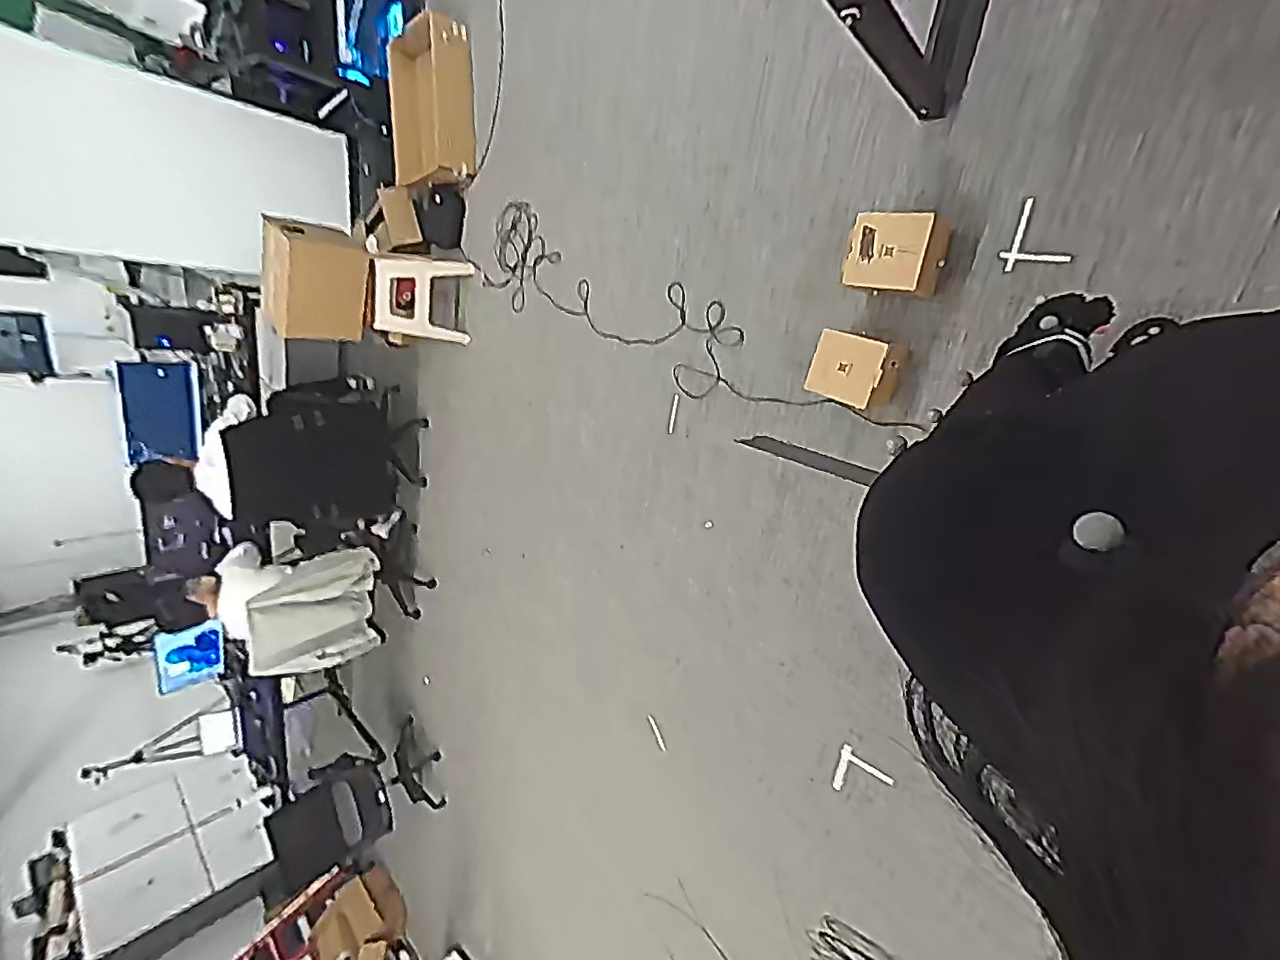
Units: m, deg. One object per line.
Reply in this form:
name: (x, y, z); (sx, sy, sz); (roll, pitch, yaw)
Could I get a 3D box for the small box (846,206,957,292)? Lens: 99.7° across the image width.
small box: (0.629, -0.550, 1.299); (0.179, 0.176, 0.168); (22, 113, 37)

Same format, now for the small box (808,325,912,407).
small box: (0.575, -0.298, 1.403); (0.179, 0.176, 0.168); (30, 116, 36)
